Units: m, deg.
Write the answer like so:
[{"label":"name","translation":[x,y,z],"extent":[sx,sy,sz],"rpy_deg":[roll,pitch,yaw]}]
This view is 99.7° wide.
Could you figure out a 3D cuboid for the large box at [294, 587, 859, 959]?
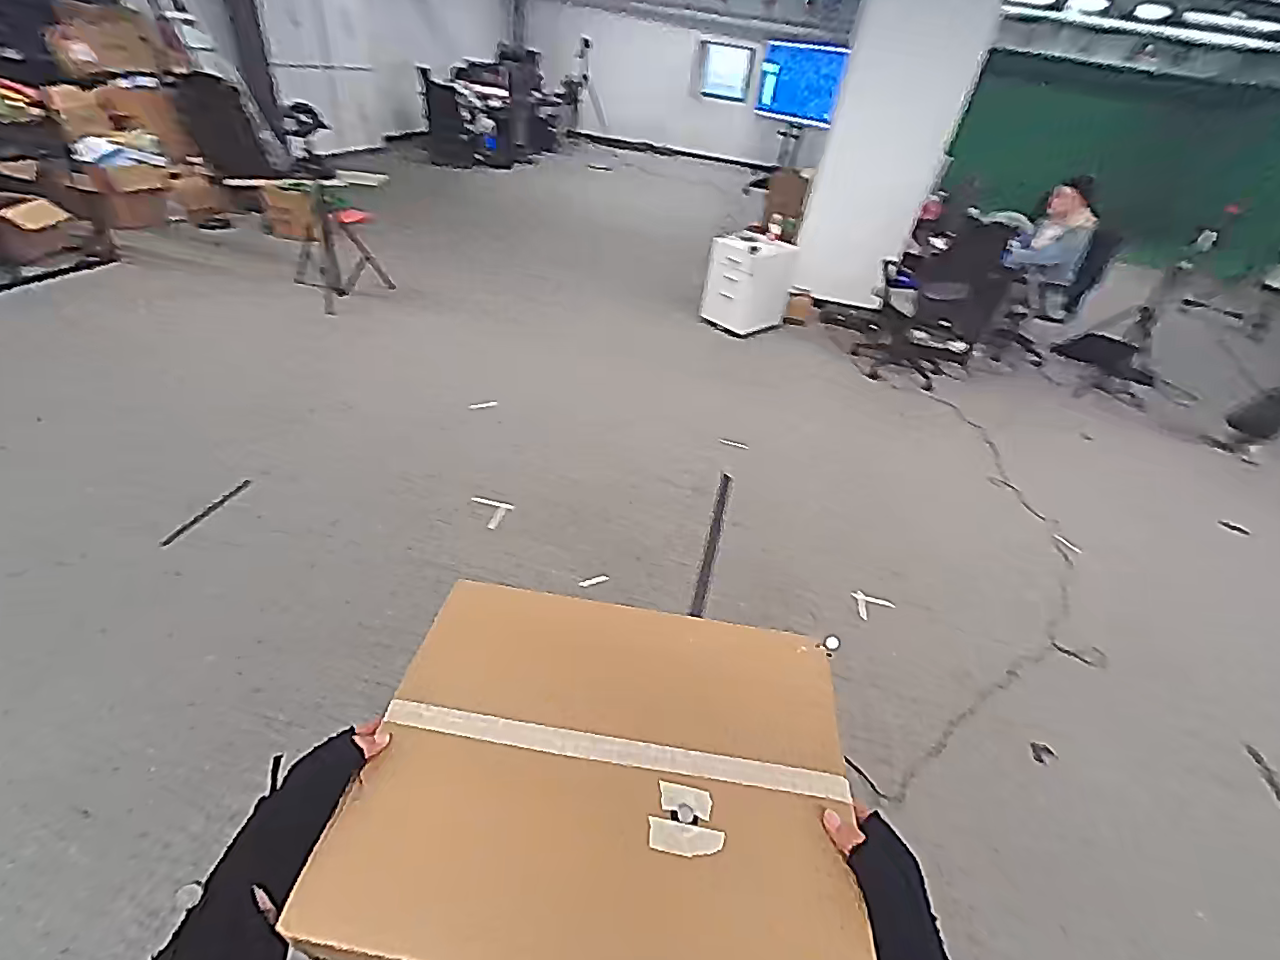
[{"label":"large box","translation":[-0.043,0.353,0.573],"extent":[0.408,0.320,0.320],"rpy_deg":[8,39,3]}]
